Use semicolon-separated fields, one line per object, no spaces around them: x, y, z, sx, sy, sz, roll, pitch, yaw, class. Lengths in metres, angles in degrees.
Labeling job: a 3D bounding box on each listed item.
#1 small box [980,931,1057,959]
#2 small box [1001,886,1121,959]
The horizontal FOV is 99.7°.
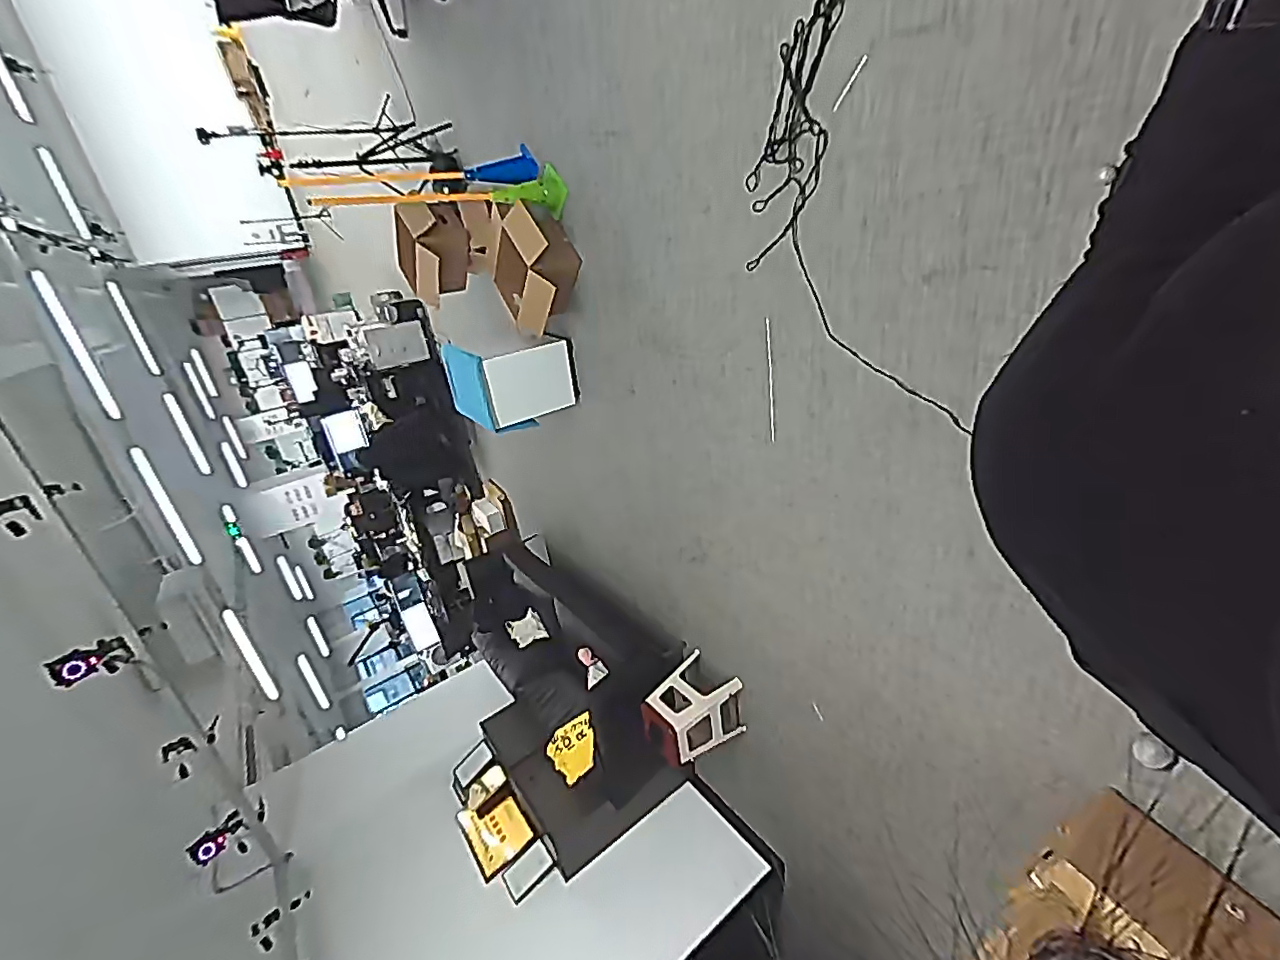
0.954;1.262;1.332;0.179;0.176;0.168;43;144;35;small box
1.089;1.208;1.404;0.168;0.176;0.179;42;144;36;small box
